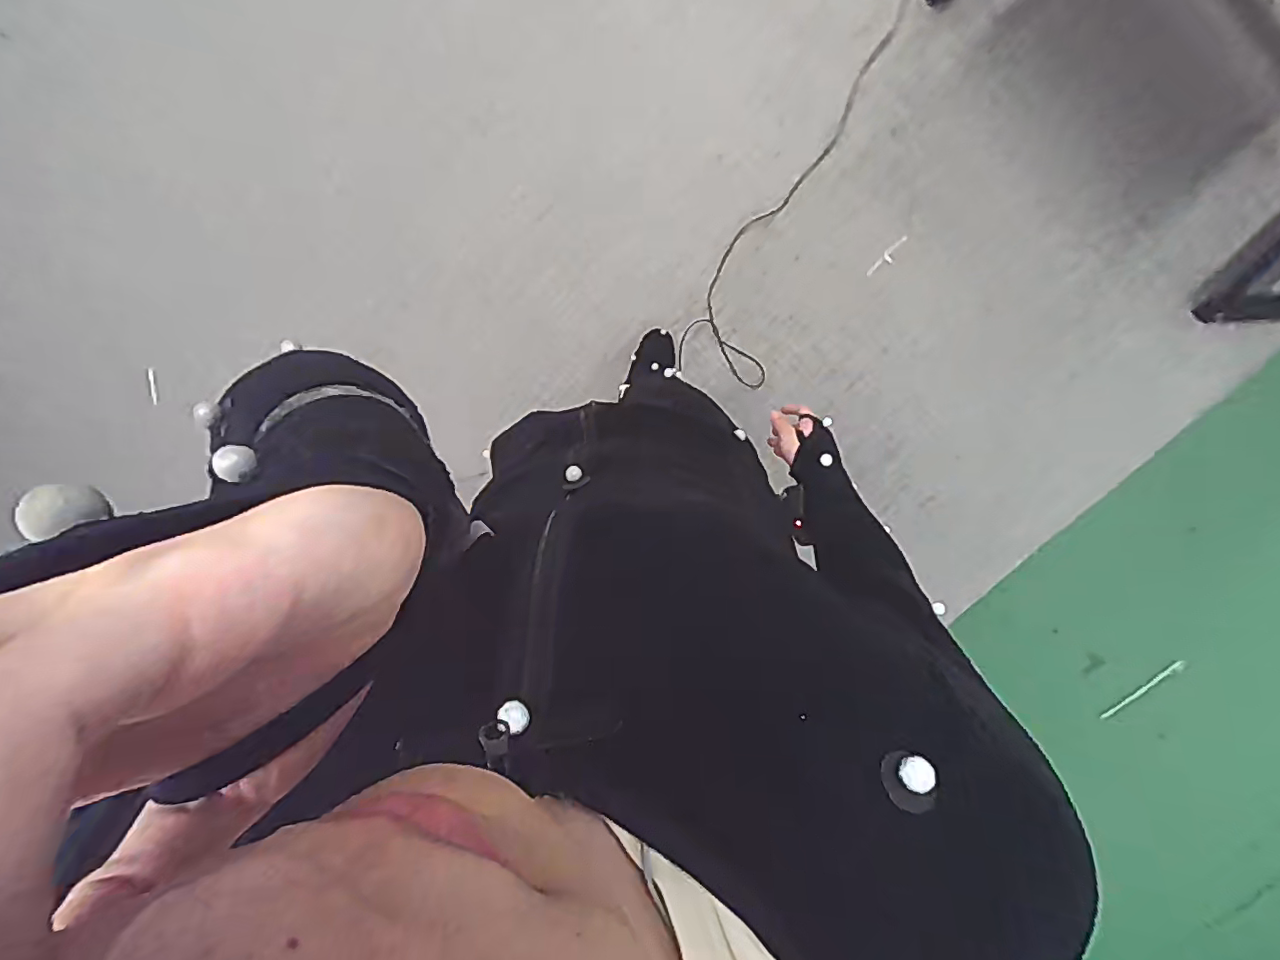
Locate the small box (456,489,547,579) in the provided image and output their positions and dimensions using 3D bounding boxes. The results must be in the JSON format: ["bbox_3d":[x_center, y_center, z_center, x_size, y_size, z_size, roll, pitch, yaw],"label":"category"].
[{"bbox_3d":[-0.400,0.153,1.597,0.168,0.176,0.179,-44,99,12],"label":"small box"}]
